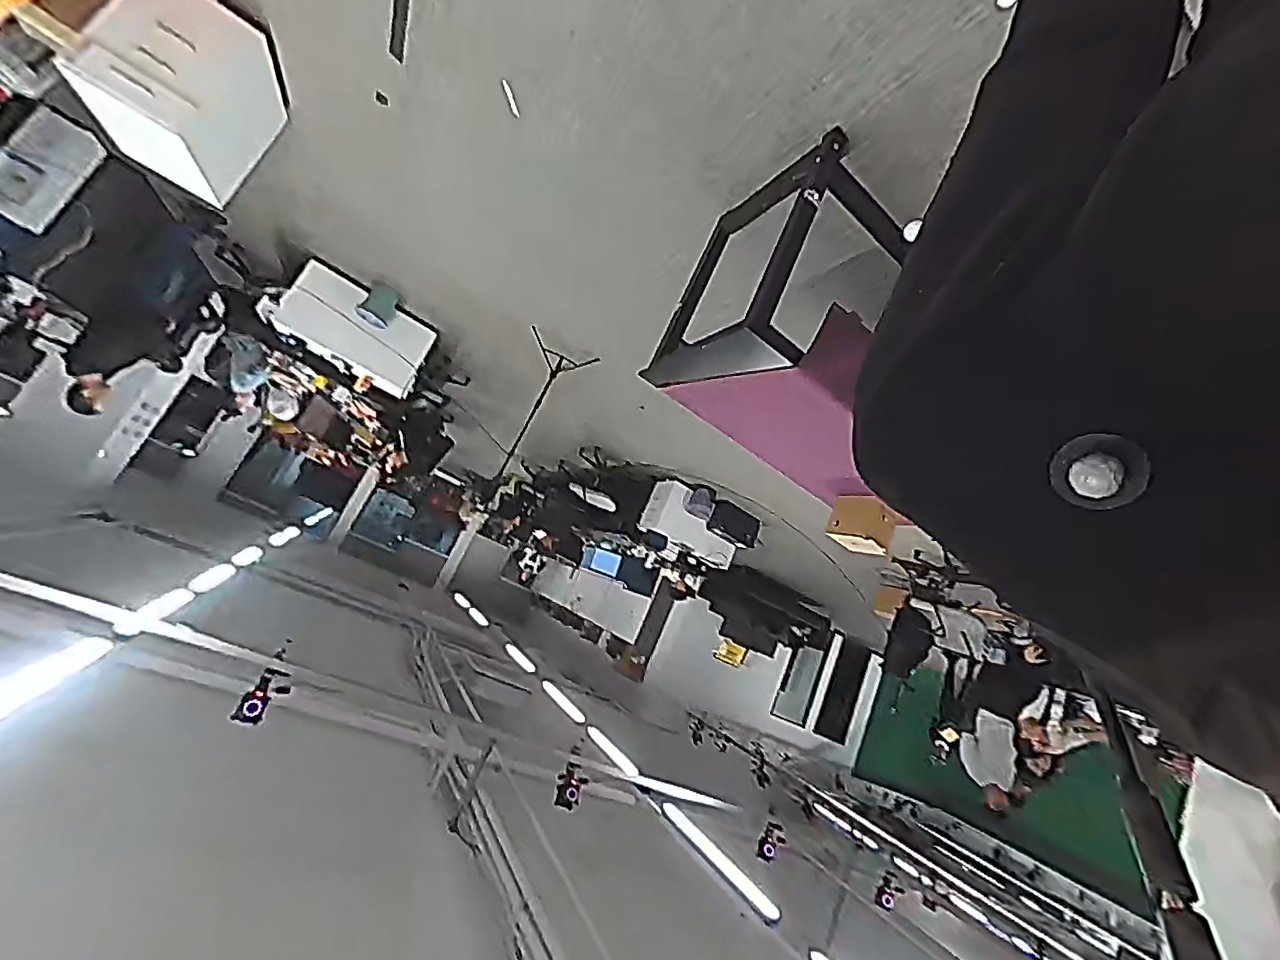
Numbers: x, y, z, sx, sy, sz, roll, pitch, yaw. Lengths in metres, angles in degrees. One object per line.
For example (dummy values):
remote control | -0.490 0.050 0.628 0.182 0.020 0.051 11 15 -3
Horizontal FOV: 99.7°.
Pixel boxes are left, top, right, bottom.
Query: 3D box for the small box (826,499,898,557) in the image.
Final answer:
small box | 0.858 0.180 2.082 0.168 0.176 0.179 31 164 -26
